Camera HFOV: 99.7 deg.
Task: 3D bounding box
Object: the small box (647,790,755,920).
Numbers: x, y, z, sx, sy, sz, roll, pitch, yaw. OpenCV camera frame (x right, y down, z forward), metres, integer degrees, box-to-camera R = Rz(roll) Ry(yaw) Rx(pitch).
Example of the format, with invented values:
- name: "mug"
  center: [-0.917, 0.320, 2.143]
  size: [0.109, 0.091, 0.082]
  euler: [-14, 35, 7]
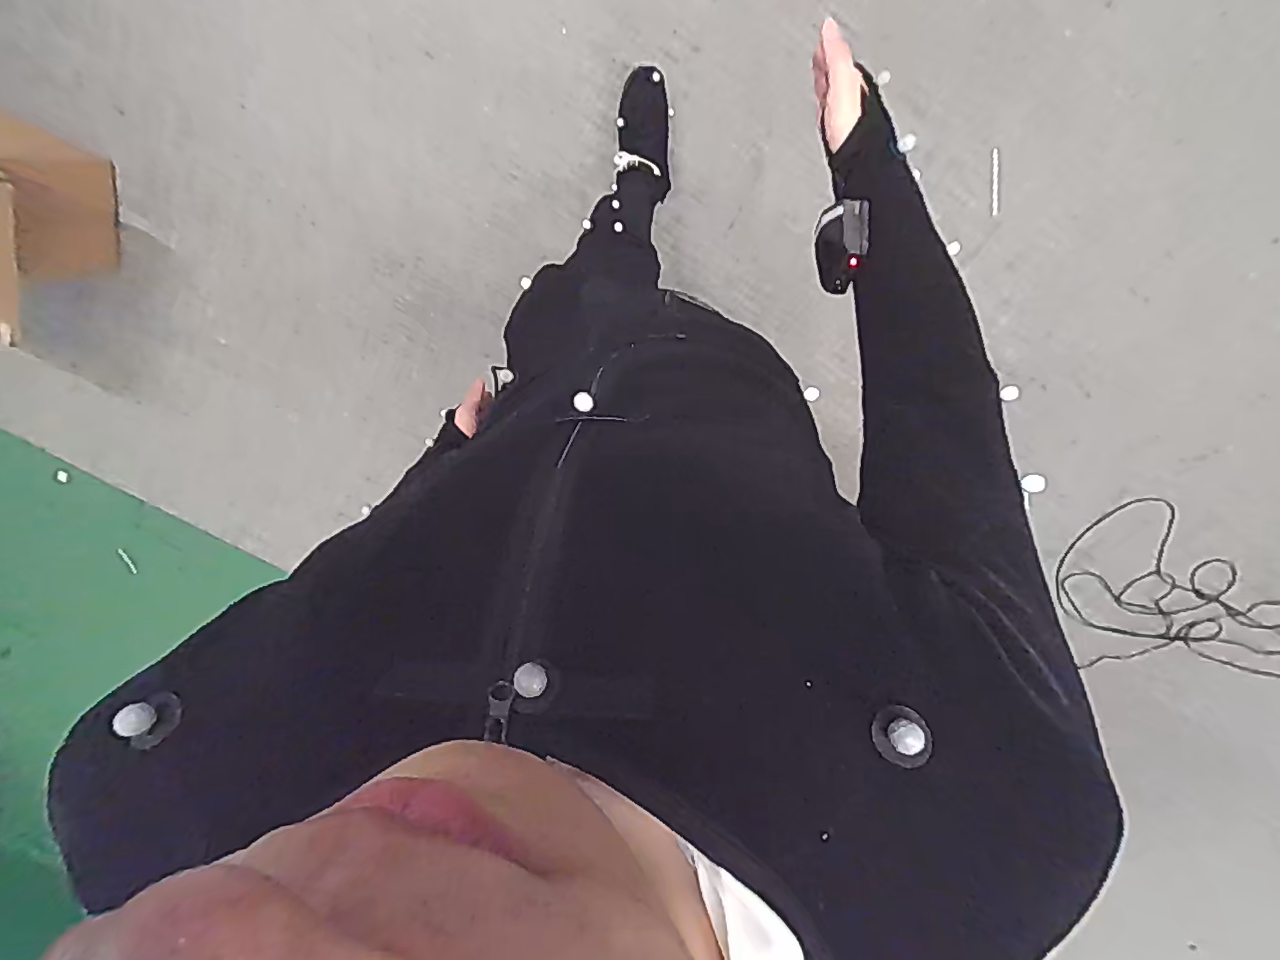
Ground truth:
- name: "small box"
  center: [0.133, 0.839, 1.218]
  size: [0.179, 0.176, 0.168]
  euler: [27, 115, -10]
